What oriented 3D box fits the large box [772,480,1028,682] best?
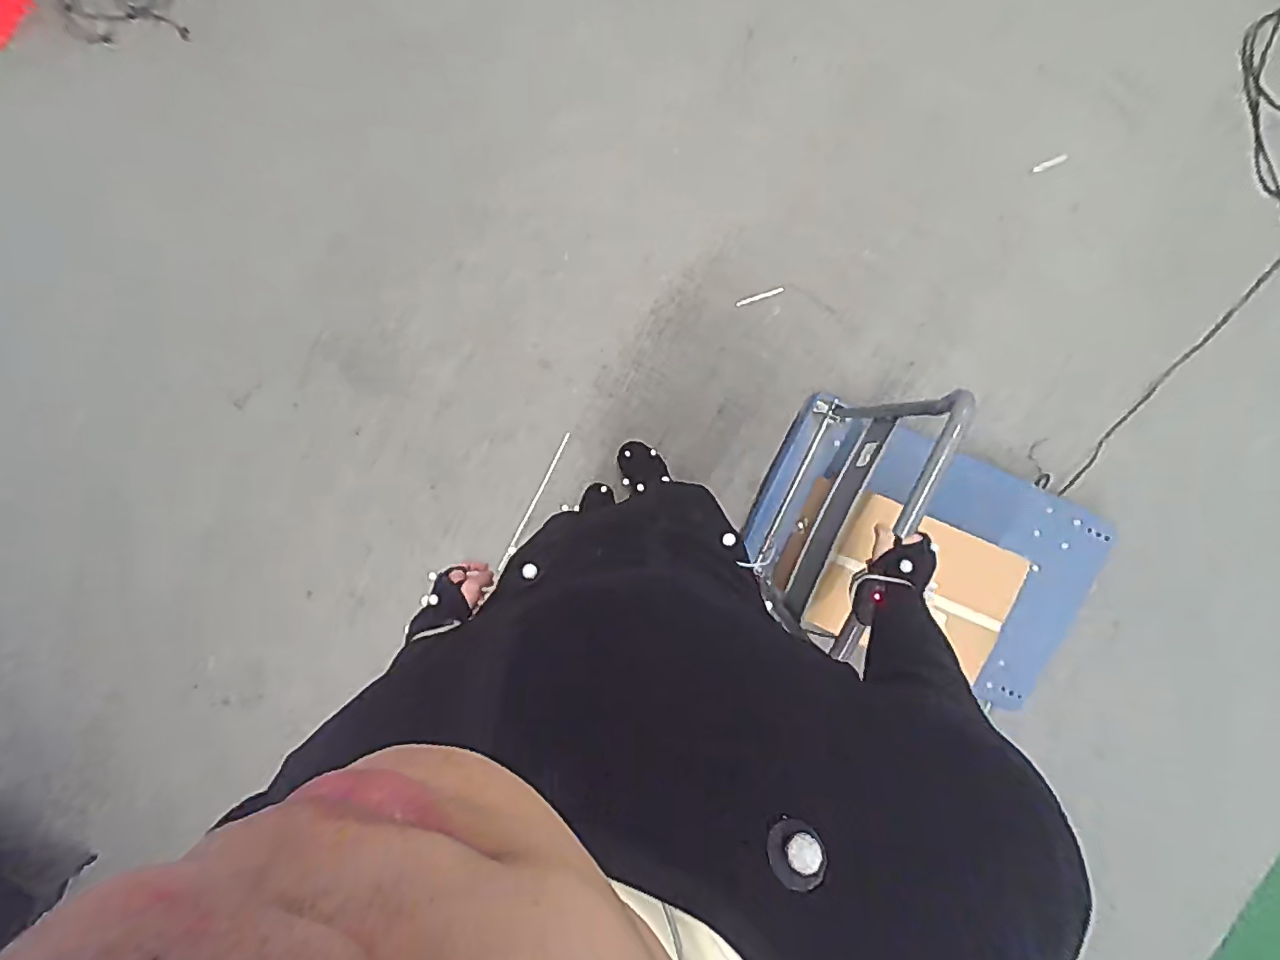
[{"bbox_3d":[0.587,0.216,1.305,0.408,0.320,0.320,23,95,-1],"label":"large box"}]
